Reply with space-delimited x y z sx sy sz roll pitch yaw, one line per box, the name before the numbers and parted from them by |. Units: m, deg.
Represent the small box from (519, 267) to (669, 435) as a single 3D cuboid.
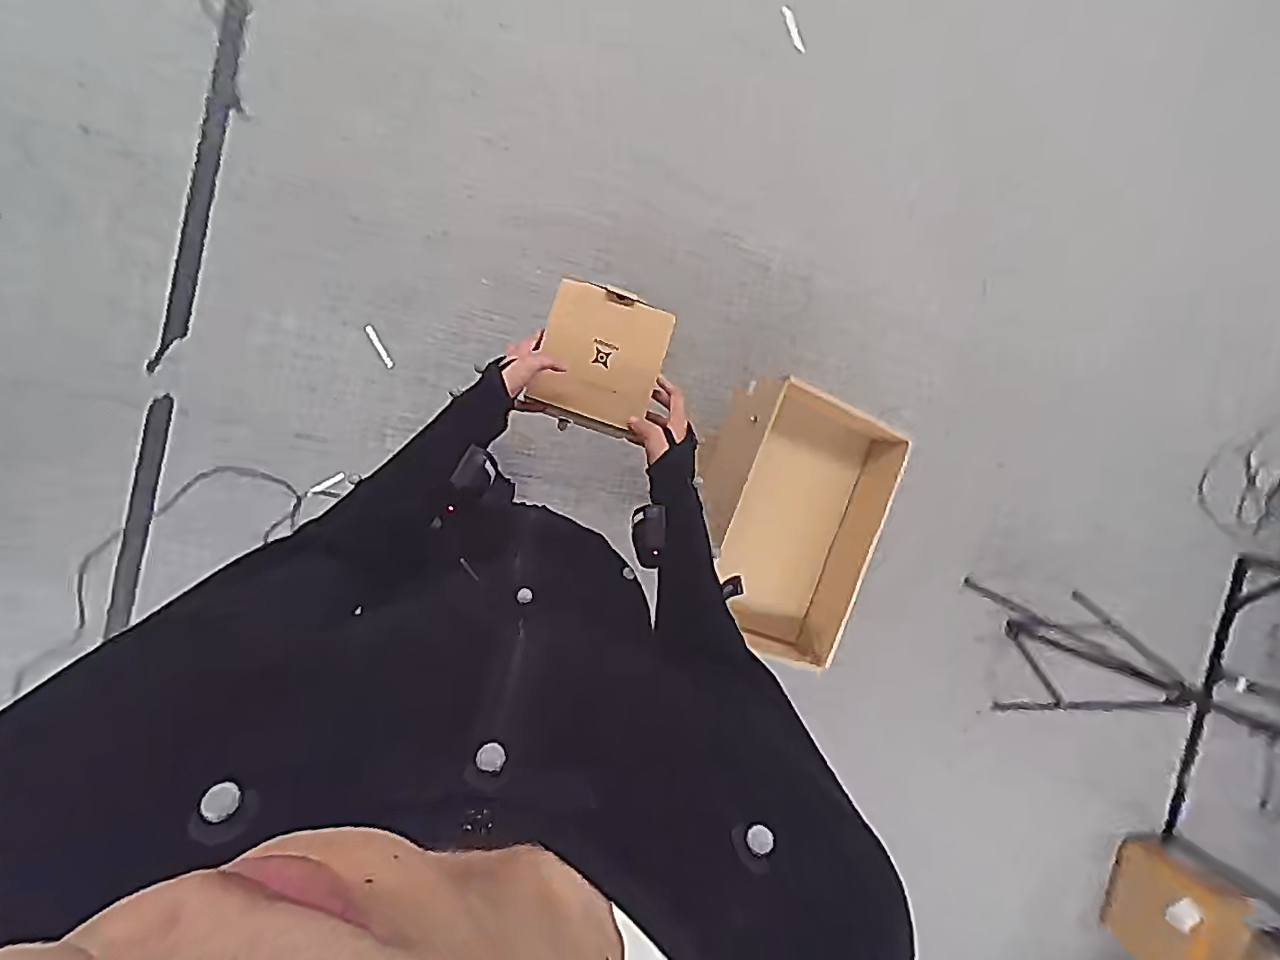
small box | -0.075 -0.175 0.792 0.168 0.176 0.179 17 88 -11
